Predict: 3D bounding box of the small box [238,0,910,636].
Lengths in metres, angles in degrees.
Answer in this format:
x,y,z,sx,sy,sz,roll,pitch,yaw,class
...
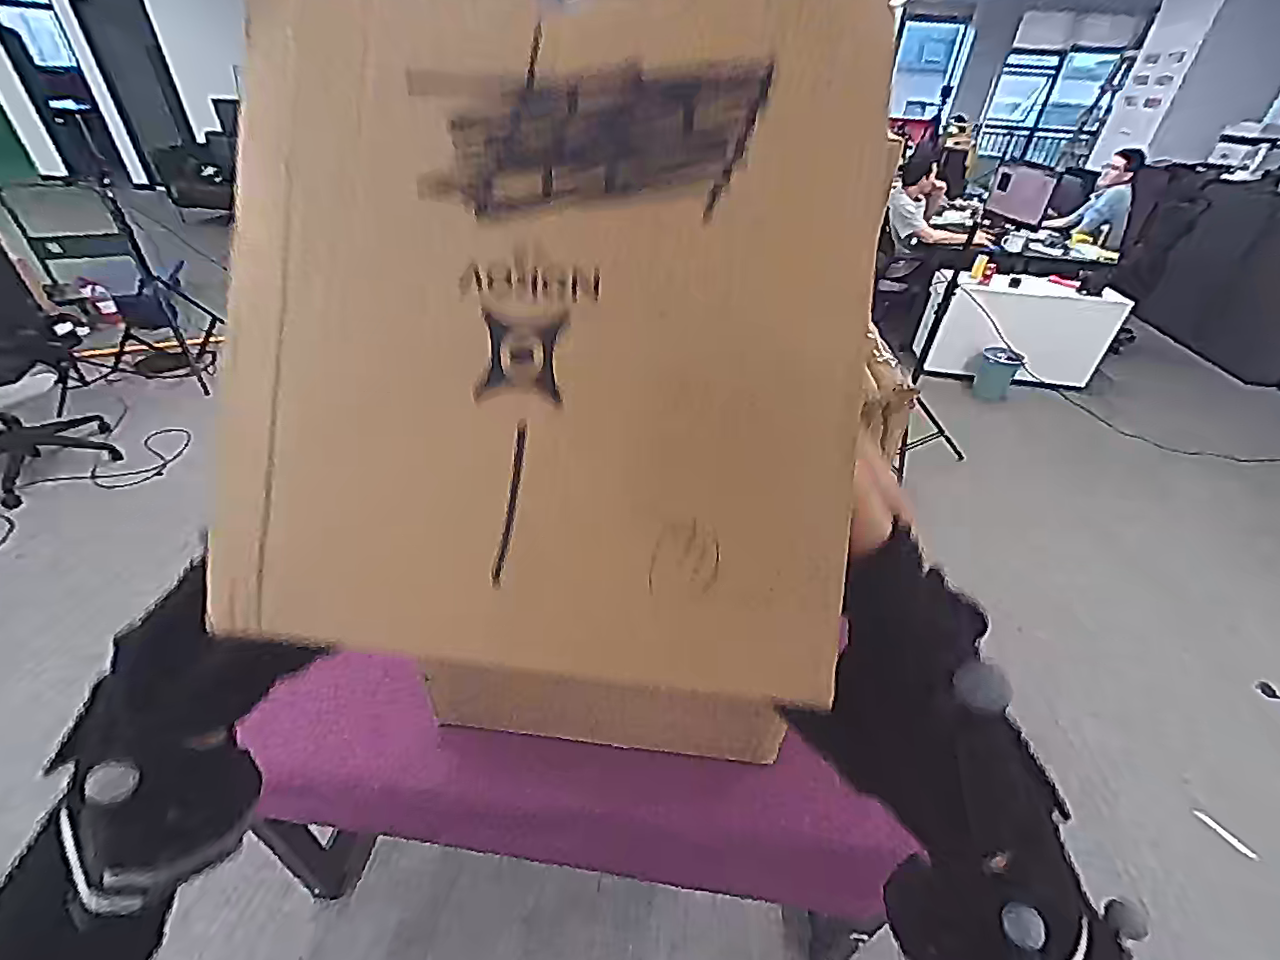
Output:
x,y,z,sx,sy,sz,roll,pitch,yaw,class
-0.013,-0.052,0.222,0.168,0.179,0.176,6,-1,6,small box
